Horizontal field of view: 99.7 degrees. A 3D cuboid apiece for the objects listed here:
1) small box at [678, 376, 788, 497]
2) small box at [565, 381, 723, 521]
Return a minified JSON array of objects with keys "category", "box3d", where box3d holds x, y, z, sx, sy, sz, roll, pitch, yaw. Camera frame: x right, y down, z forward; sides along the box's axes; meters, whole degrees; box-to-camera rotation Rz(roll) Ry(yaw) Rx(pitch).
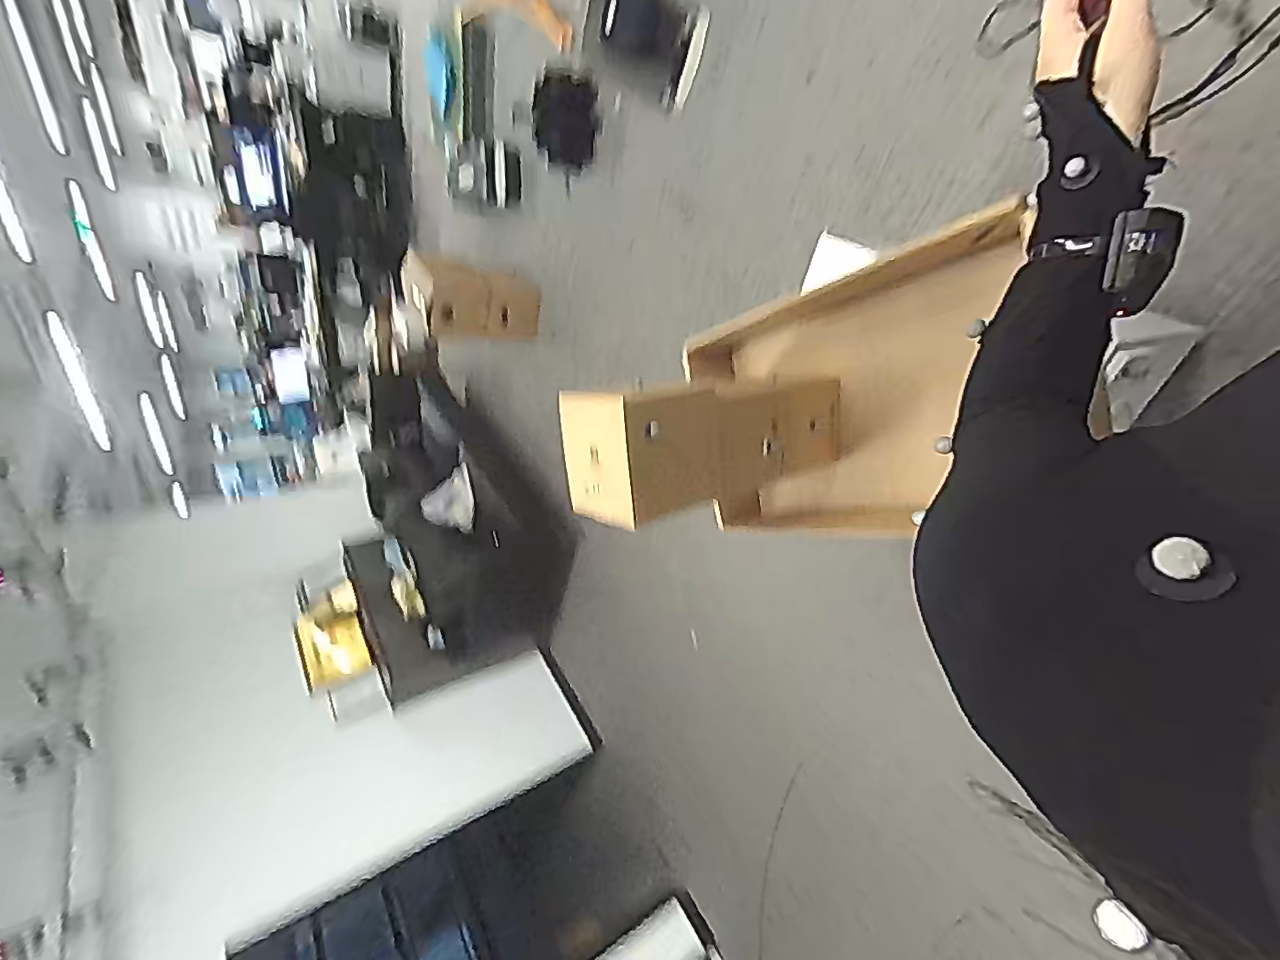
[{"category":"small box","box3d":[0.131,-0.085,0.929,0.179,0.176,0.168,17,117,49]},{"category":"small box","box3d":[0.009,-0.056,0.821,0.168,0.176,0.179,13,113,52]}]
